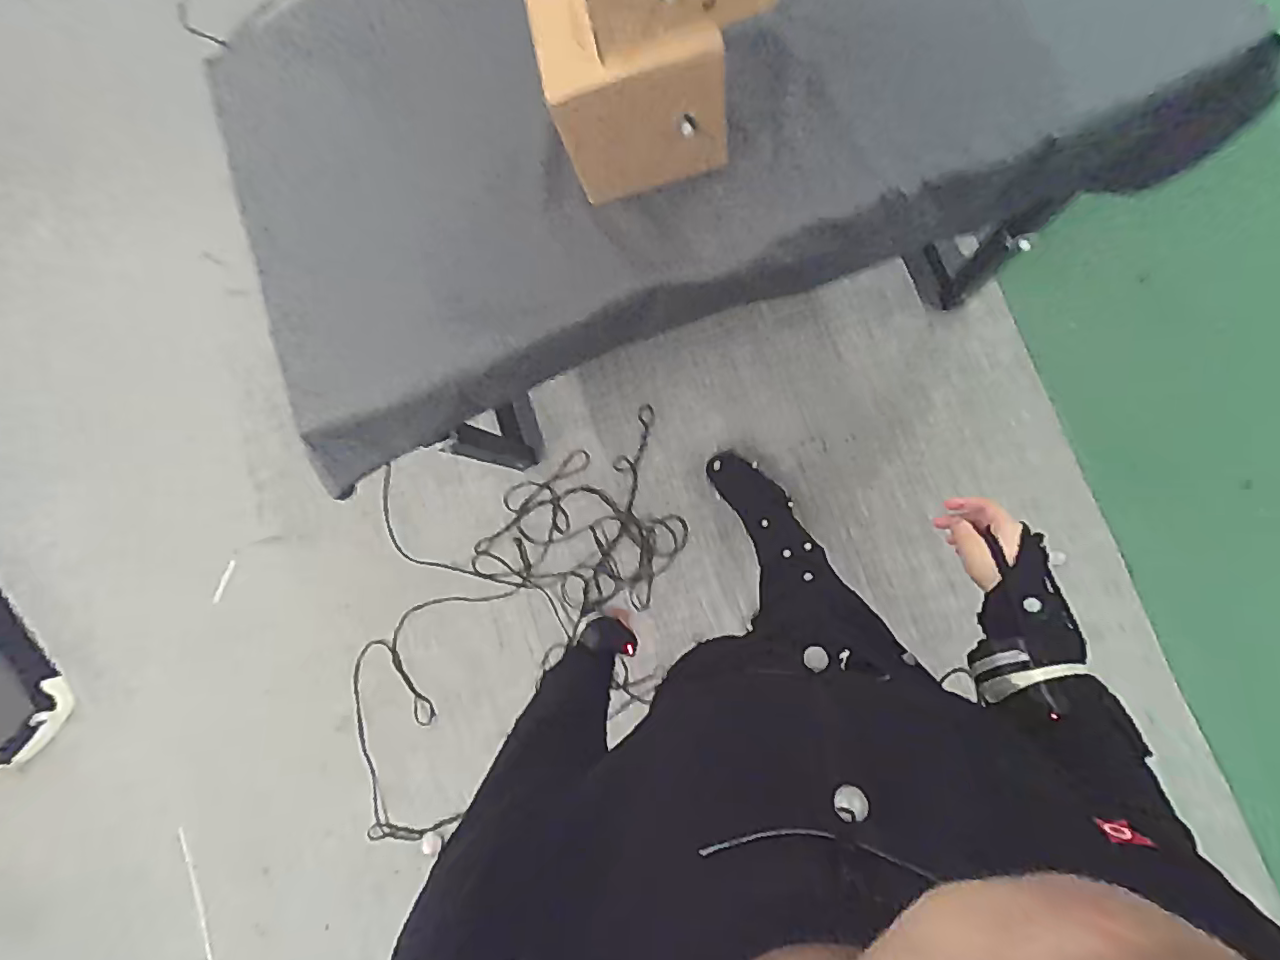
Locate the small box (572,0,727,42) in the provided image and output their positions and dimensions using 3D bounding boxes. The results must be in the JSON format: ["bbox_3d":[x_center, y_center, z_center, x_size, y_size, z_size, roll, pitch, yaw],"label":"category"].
[{"bbox_3d":[-0.006,-0.512,0.425,0.168,0.176,0.179,-15,83,7],"label":"small box"}]
